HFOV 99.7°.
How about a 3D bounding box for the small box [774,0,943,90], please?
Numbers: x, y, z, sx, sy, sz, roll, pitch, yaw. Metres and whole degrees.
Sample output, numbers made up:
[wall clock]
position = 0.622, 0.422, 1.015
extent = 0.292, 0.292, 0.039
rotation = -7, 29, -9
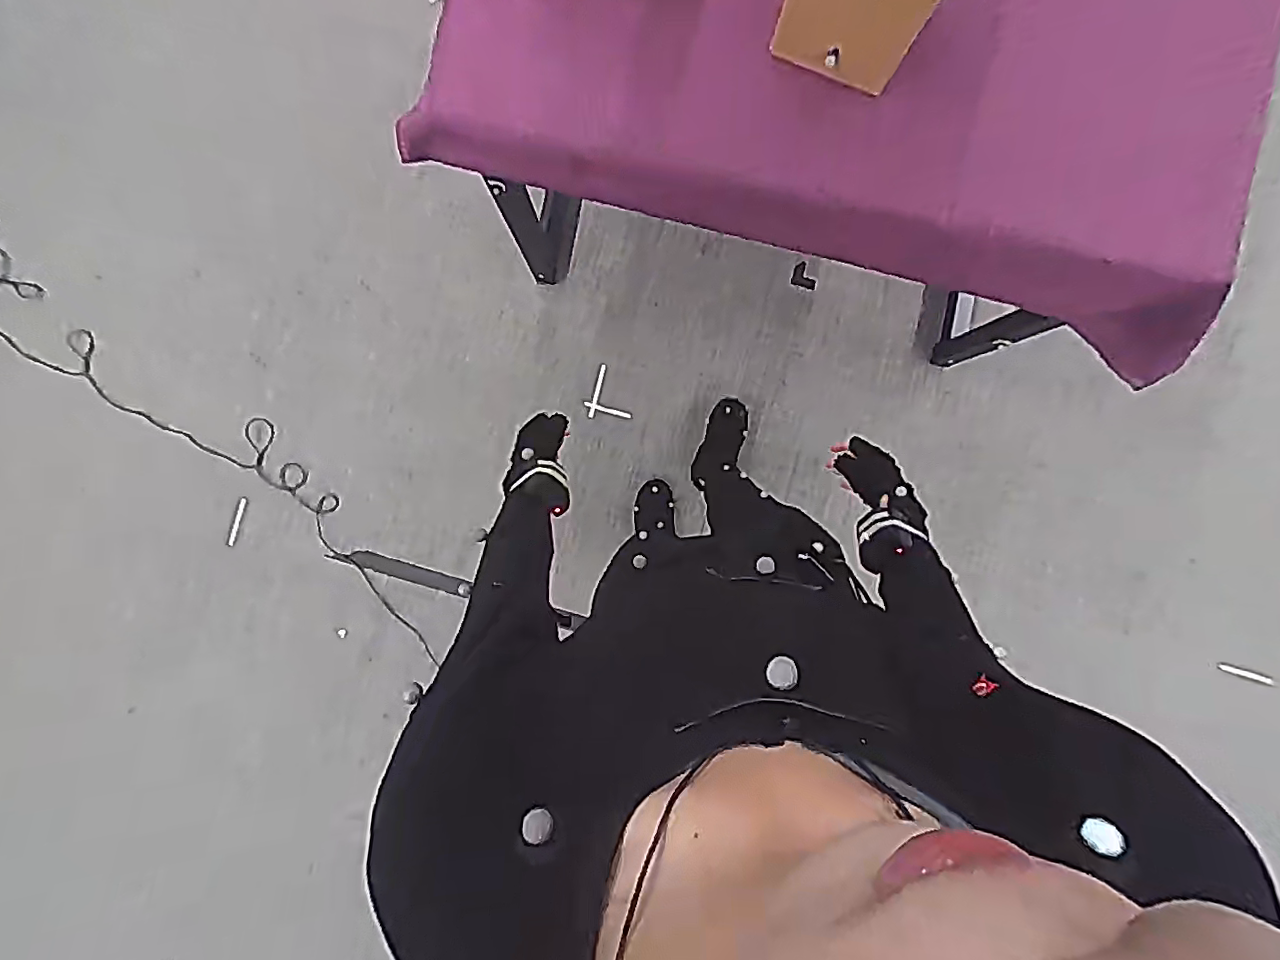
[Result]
[small box]
position = 0.301, -0.665, 0.711
extent = 0.179, 0.176, 0.168
rotation = 21, 90, -1
